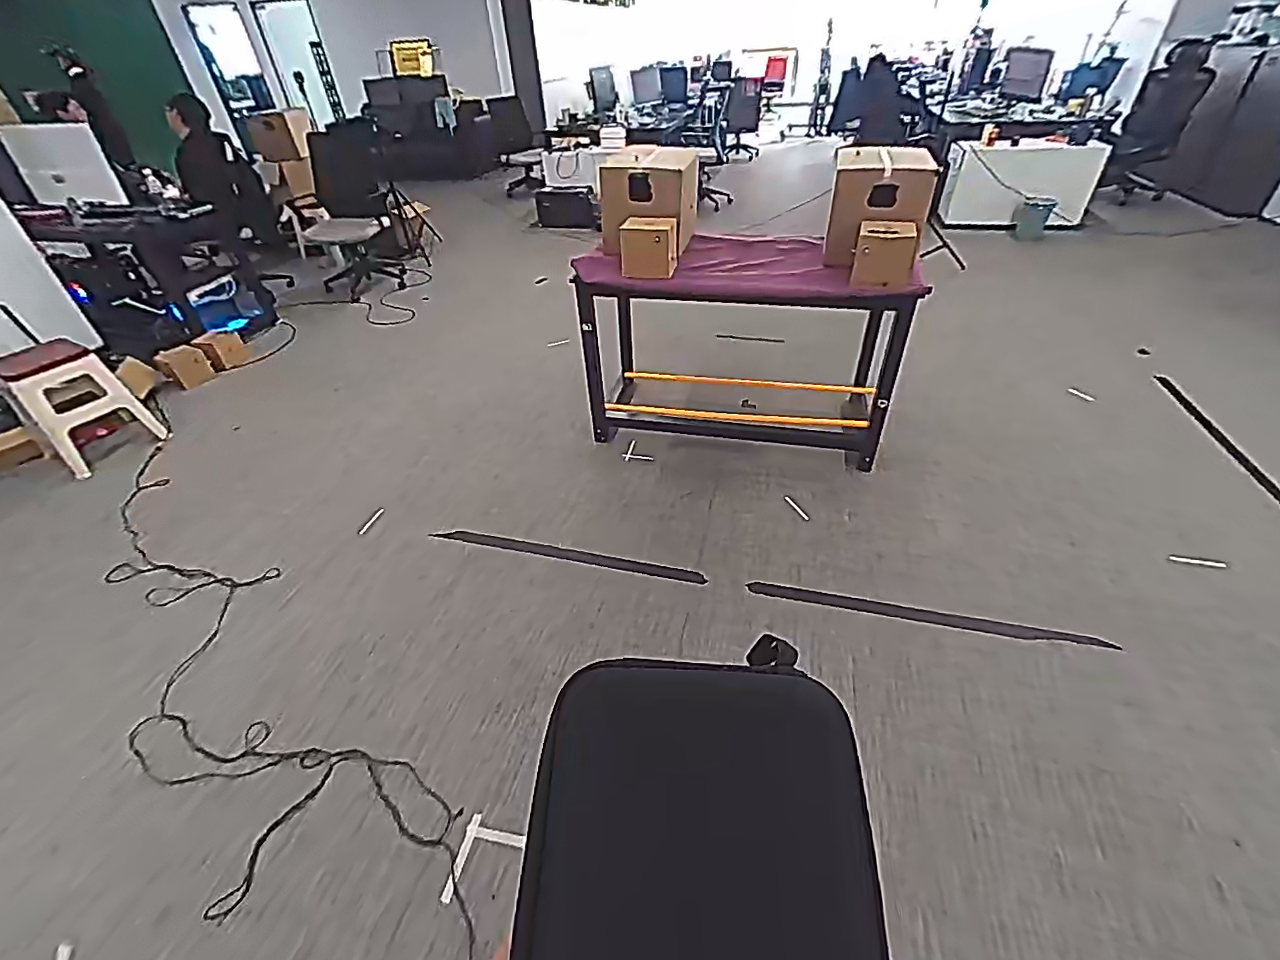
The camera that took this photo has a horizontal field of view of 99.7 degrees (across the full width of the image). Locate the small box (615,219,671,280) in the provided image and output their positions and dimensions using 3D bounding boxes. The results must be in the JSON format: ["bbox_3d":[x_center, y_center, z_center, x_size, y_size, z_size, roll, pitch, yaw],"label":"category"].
[{"bbox_3d":[0.016,-0.832,1.953,0.179,0.176,0.168,6,39,10],"label":"small box"}]

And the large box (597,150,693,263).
[{"bbox_3d":[0.031,-1.103,2.172,0.320,0.320,0.408,7,42,10],"label":"large box"}]
